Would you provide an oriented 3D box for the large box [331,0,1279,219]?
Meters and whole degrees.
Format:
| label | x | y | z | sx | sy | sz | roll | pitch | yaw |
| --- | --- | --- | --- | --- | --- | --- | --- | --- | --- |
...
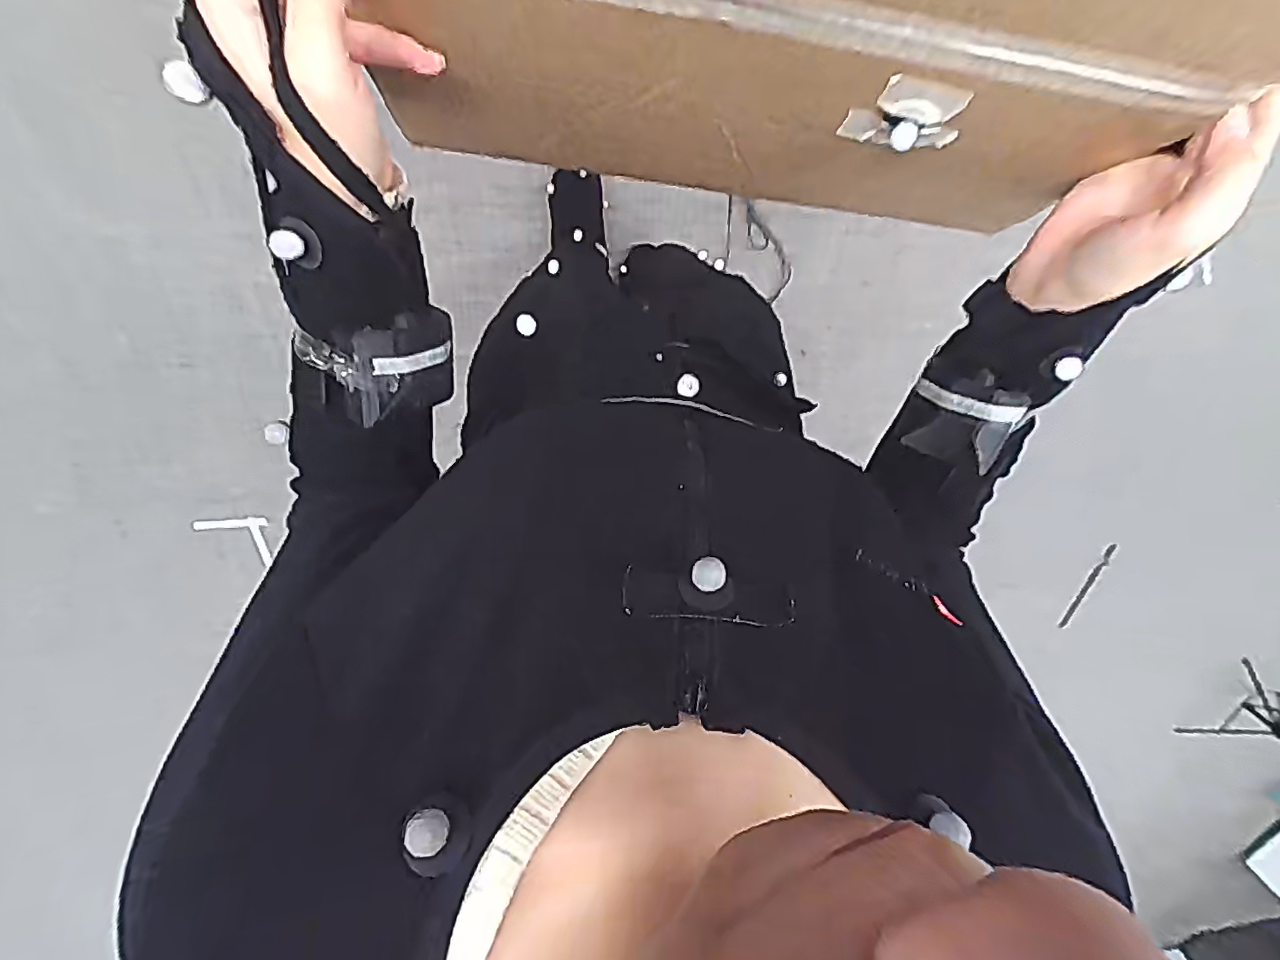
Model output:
| label | x | y | z | sx | sy | sz | roll | pitch | yaw |
| --- | --- | --- | --- | --- | --- | --- | --- | --- | --- |
| large box | 0.076 | -0.343 | 0.212 | 0.408 | 0.320 | 0.320 | 4 | 94 | -7 |
